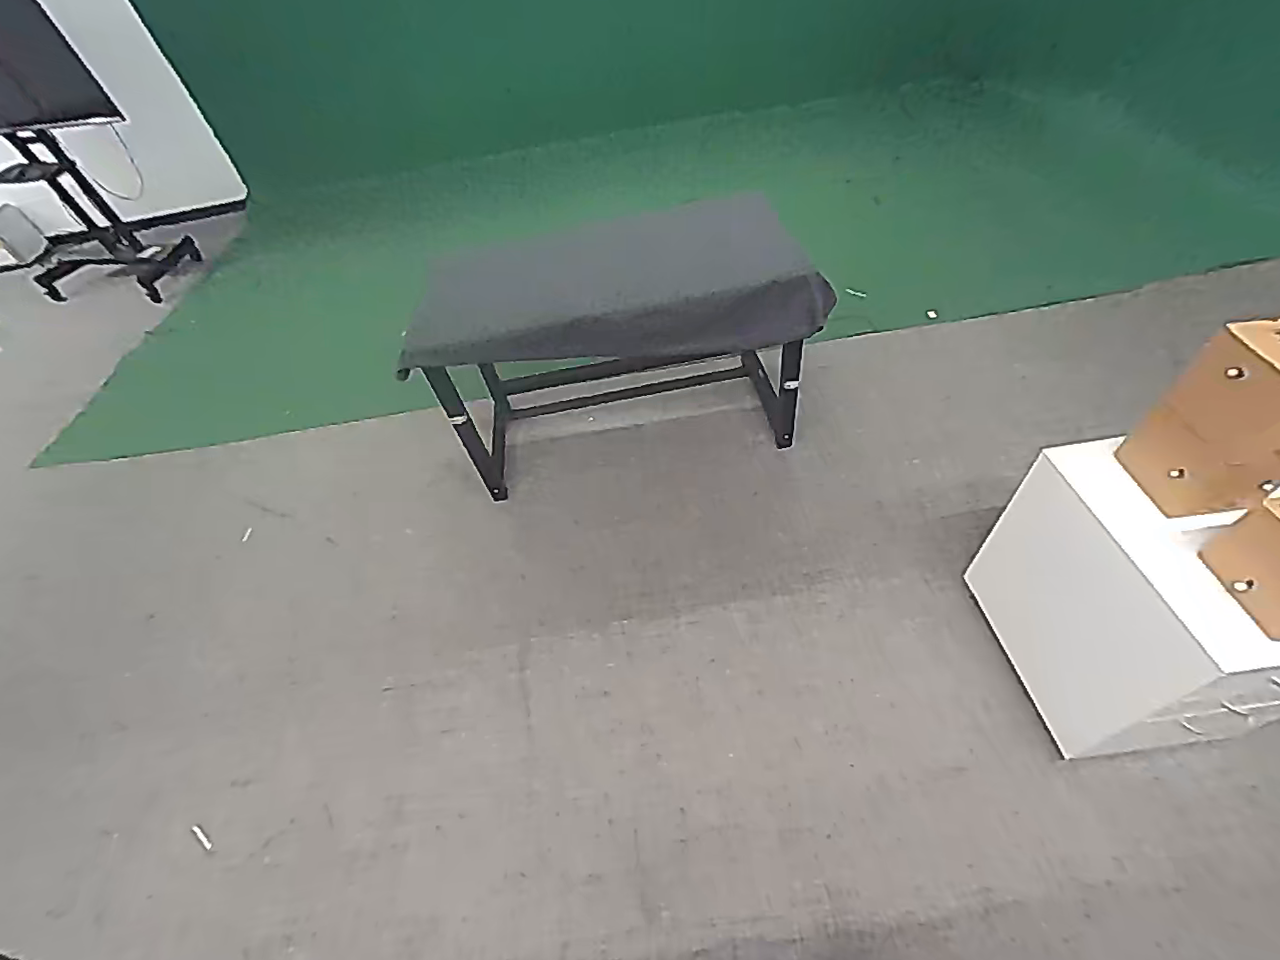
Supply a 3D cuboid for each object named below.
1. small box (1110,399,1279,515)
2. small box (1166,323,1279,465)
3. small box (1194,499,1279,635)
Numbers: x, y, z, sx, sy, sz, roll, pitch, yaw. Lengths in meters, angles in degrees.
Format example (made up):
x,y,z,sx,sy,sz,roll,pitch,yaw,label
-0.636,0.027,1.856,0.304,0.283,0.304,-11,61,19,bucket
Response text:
x,y,z,sx,sy,sz,roll,pitch,yaw,label
1.087,-0.046,1.049,0.168,0.176,0.179,-7,49,1,small box
1.075,-0.148,0.920,0.168,0.176,0.179,-6,52,2,small box
1.099,0.143,0.887,0.168,0.176,0.179,-7,50,2,small box
